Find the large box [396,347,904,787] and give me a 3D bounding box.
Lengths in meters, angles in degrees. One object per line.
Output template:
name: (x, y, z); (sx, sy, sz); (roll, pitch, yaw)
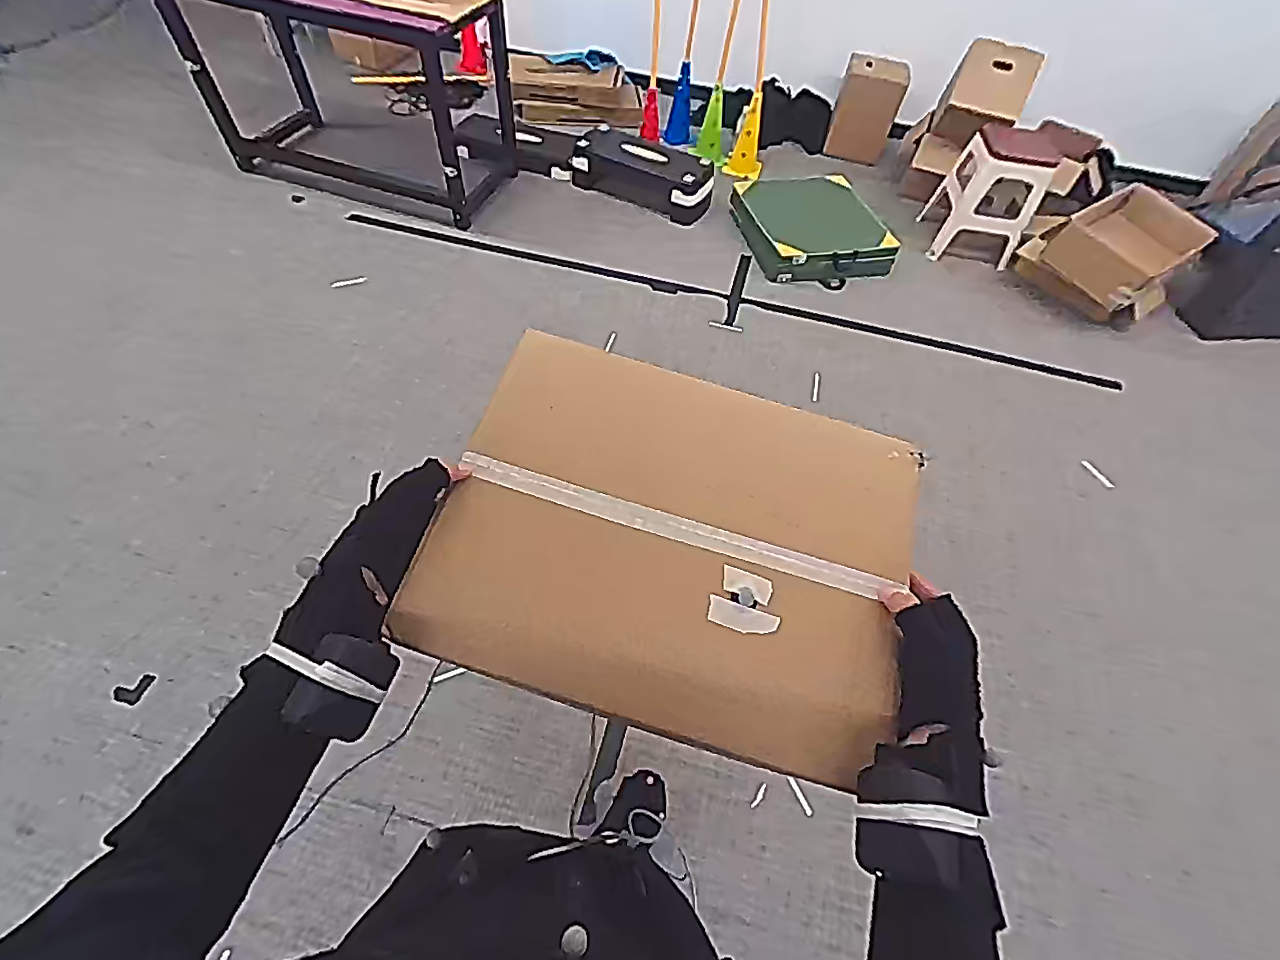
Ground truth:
large box: (0.018, 0.109, 0.617); (0.408, 0.320, 0.320); (17, 67, 1)
